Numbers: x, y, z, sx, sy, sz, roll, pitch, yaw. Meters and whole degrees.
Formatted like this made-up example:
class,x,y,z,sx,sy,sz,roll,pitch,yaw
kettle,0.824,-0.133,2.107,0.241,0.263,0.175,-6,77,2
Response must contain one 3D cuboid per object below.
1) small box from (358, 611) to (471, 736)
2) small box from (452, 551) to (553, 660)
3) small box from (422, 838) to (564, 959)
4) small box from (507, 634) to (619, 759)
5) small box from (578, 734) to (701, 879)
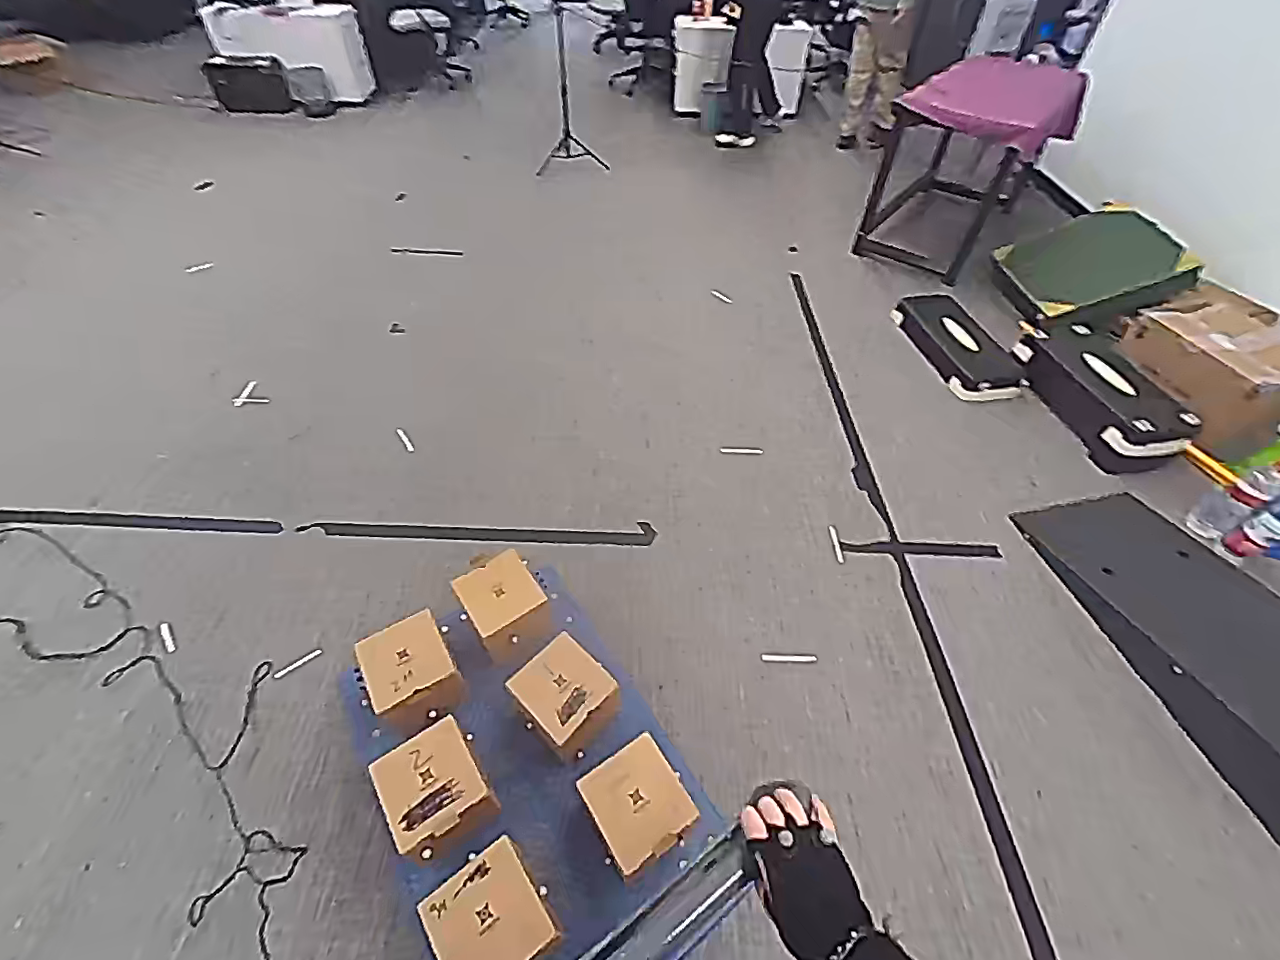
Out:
class,x,y,z,sx,sy,sz,roll,pitch,yaw
small box,-0.498,0.433,1.207,0.168,0.176,0.179,-26,56,-21
small box,-0.328,0.314,1.317,0.168,0.176,0.179,-30,57,-24
small box,-0.244,0.765,0.934,0.168,0.176,0.179,-30,57,-25
small box,-0.160,0.479,1.181,0.179,0.176,0.168,36,57,26
small box,-0.002,0.639,1.053,0.168,0.176,0.179,-27,55,-23
